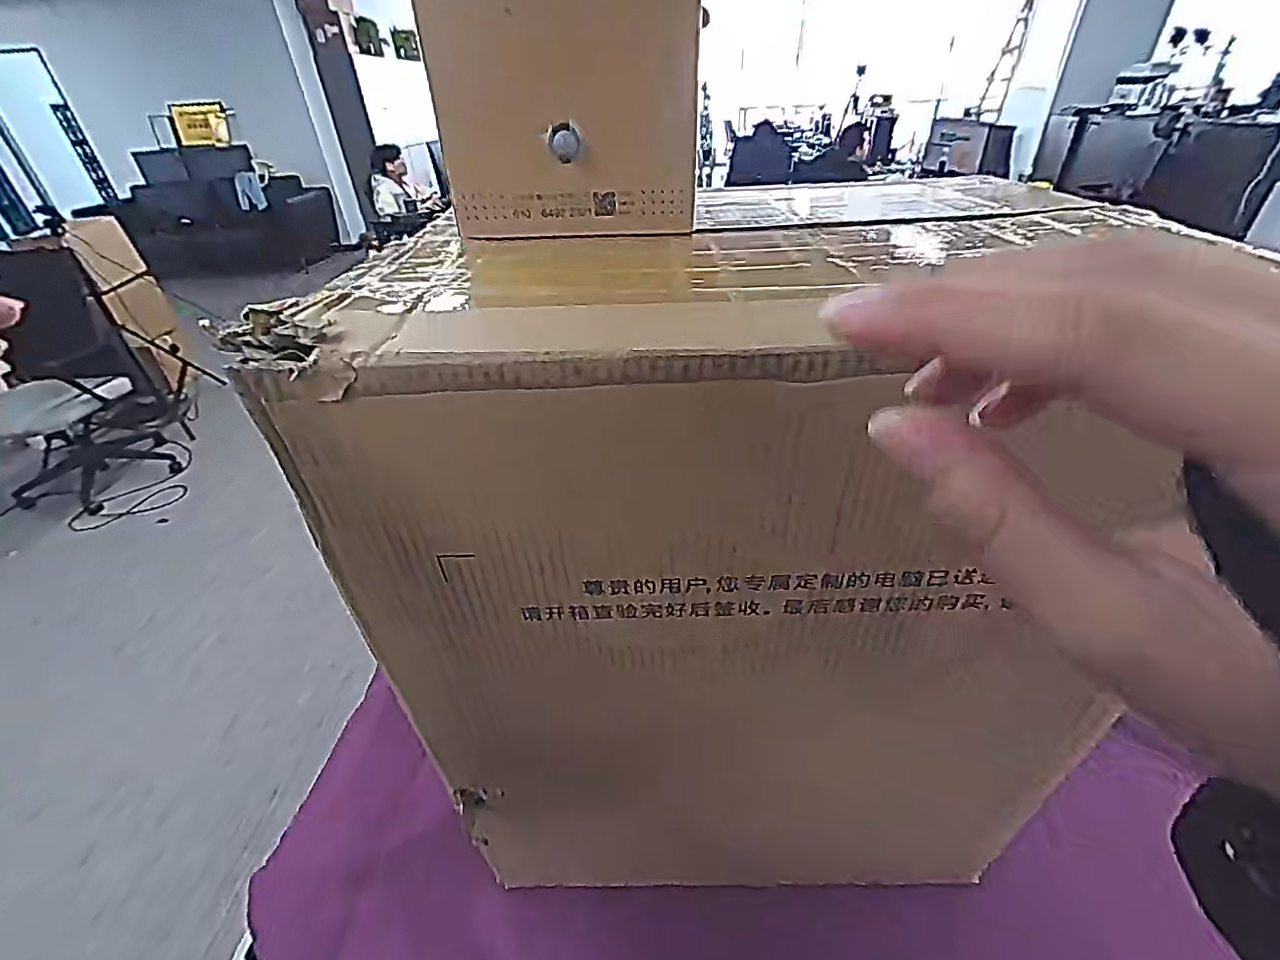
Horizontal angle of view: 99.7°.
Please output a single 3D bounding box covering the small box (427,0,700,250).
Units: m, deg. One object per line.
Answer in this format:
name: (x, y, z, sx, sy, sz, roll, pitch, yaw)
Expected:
small box: (-0.045, -0.282, 0.410, 0.168, 0.176, 0.179, -2, 36, 2)
